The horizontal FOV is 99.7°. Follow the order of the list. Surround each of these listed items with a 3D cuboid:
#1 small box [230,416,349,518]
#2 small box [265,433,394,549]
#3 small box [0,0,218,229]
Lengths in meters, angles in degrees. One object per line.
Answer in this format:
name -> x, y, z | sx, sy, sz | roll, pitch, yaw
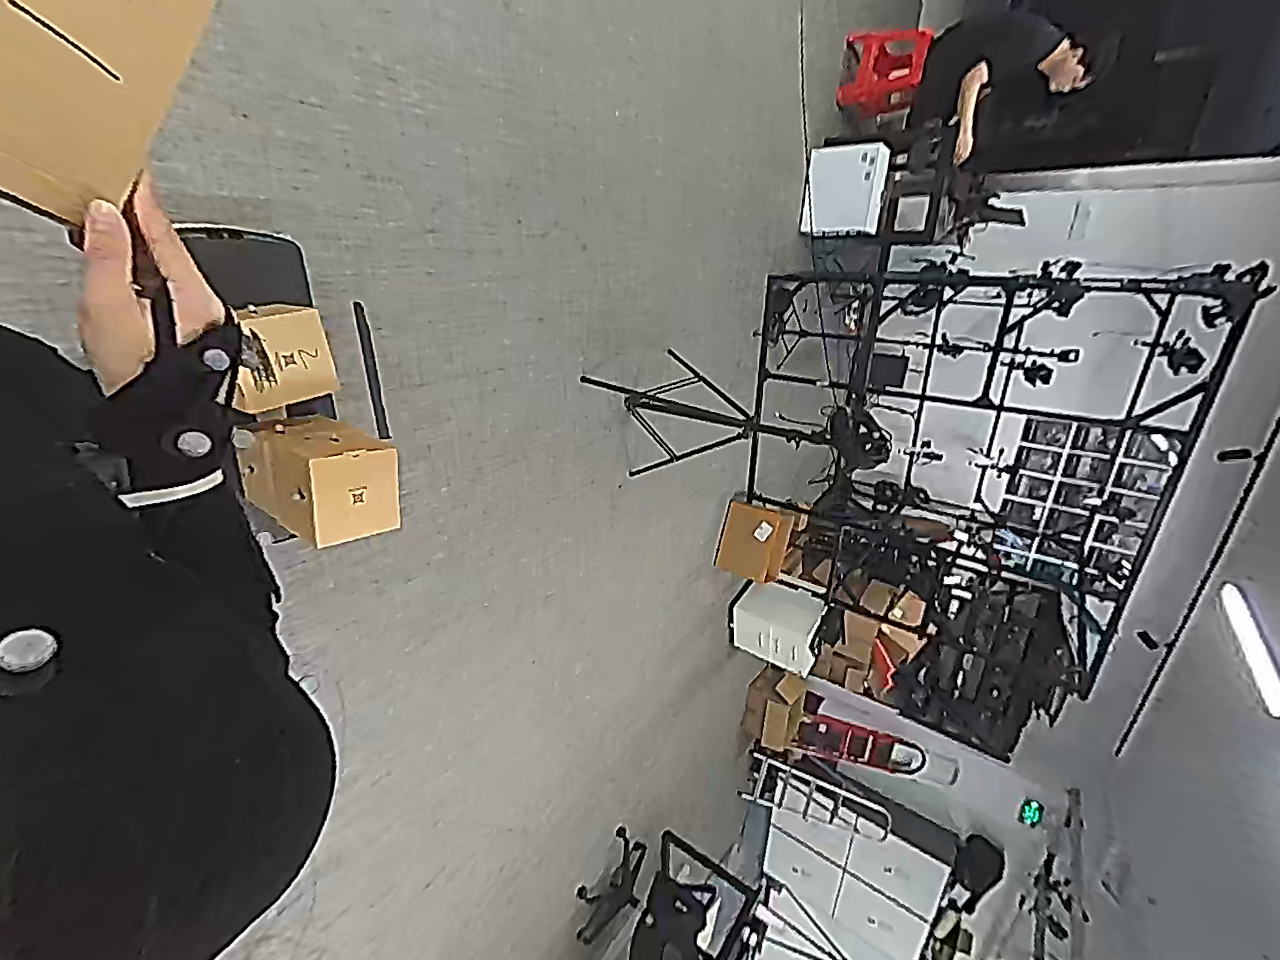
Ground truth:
small box -> -0.742, -0.035, 1.153 | 0.179, 0.176, 0.168 | -21, 121, -51
small box -> -0.611, 0.014, 1.069 | 0.168, 0.176, 0.179 | -17, 116, -52
small box -> -0.367, -0.254, 0.275 | 0.179, 0.176, 0.168 | 25, 89, -55
